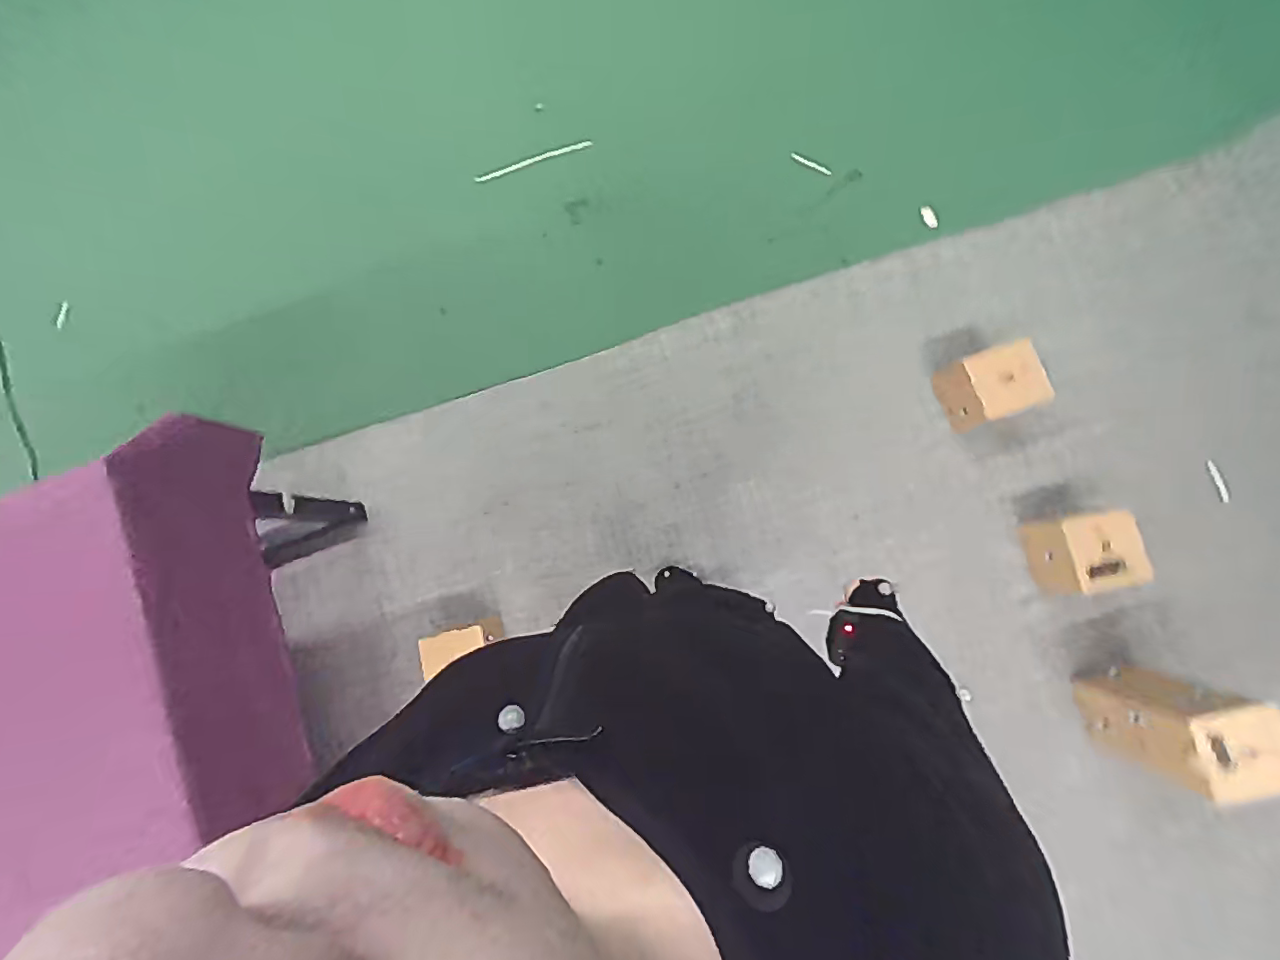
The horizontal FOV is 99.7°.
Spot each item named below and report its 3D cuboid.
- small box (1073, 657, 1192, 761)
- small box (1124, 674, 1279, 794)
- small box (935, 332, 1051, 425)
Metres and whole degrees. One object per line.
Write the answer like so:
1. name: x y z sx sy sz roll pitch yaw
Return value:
1. small box: 1.195 0.542 1.300 0.179 0.176 0.168 -16 83 3
2. small box: 1.178 0.524 1.137 0.179 0.176 0.168 -14 83 2
3. small box: 0.906 -0.257 1.412 0.179 0.176 0.168 -20 83 1
